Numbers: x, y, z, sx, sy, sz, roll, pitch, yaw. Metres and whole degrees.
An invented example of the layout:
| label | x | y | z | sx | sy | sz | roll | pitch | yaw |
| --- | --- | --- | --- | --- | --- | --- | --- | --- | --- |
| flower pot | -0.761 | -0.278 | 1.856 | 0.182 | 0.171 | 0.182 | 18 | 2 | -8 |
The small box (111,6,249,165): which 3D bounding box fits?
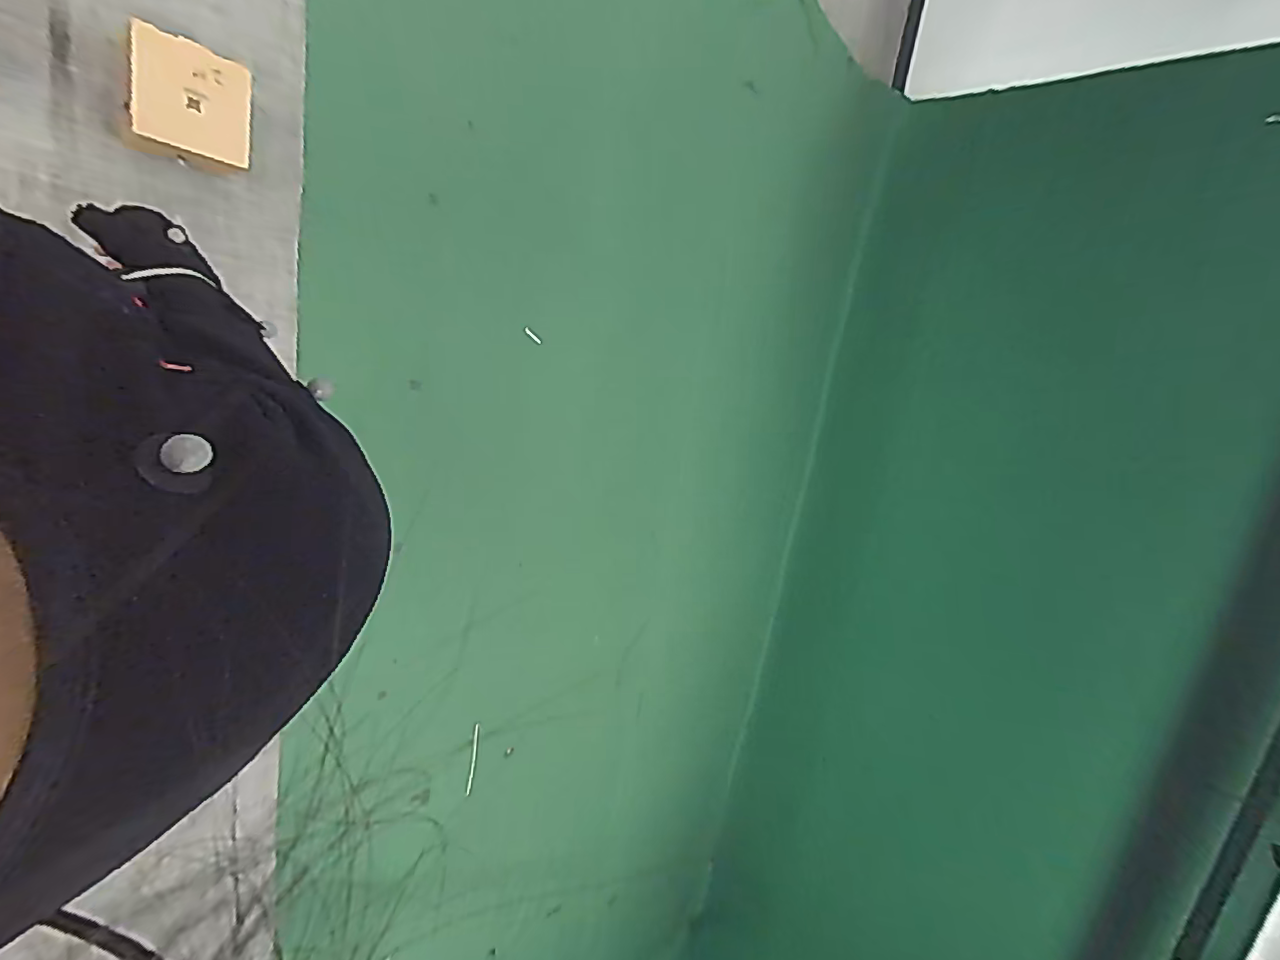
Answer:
| label | x | y | z | sx | sy | sz | roll | pitch | yaw |
| --- | --- | --- | --- | --- | --- | --- | --- | --- | --- |
| small box | -0.840 | -0.700 | 0.989 | 0.168 | 0.176 | 0.179 | -4 | 109 | -51 |
